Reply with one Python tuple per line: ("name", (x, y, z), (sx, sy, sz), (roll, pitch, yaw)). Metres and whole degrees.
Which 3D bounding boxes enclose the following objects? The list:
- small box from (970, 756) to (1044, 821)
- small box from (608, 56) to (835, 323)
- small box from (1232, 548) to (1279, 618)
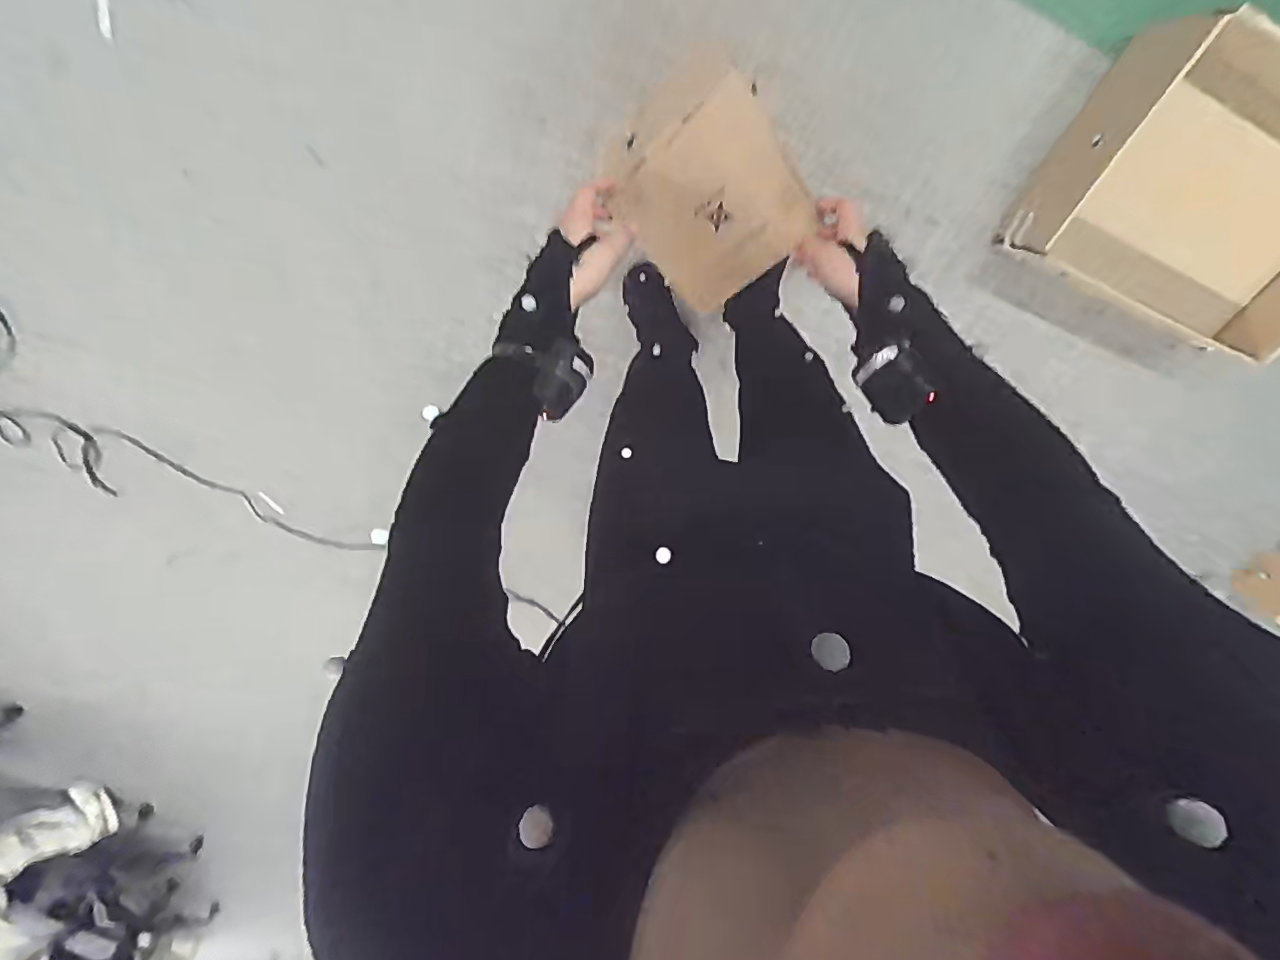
("small box", (1.555, 1.319, 2.313), (0.168, 0.176, 0.179), (19, 121, -12))
("small box", (0.081, -0.319, 0.593), (0.168, 0.176, 0.179), (-31, 131, 30))
("small box", (1.998, 0.333, 1.644), (0.179, 0.176, 0.168), (23, 121, -14))
